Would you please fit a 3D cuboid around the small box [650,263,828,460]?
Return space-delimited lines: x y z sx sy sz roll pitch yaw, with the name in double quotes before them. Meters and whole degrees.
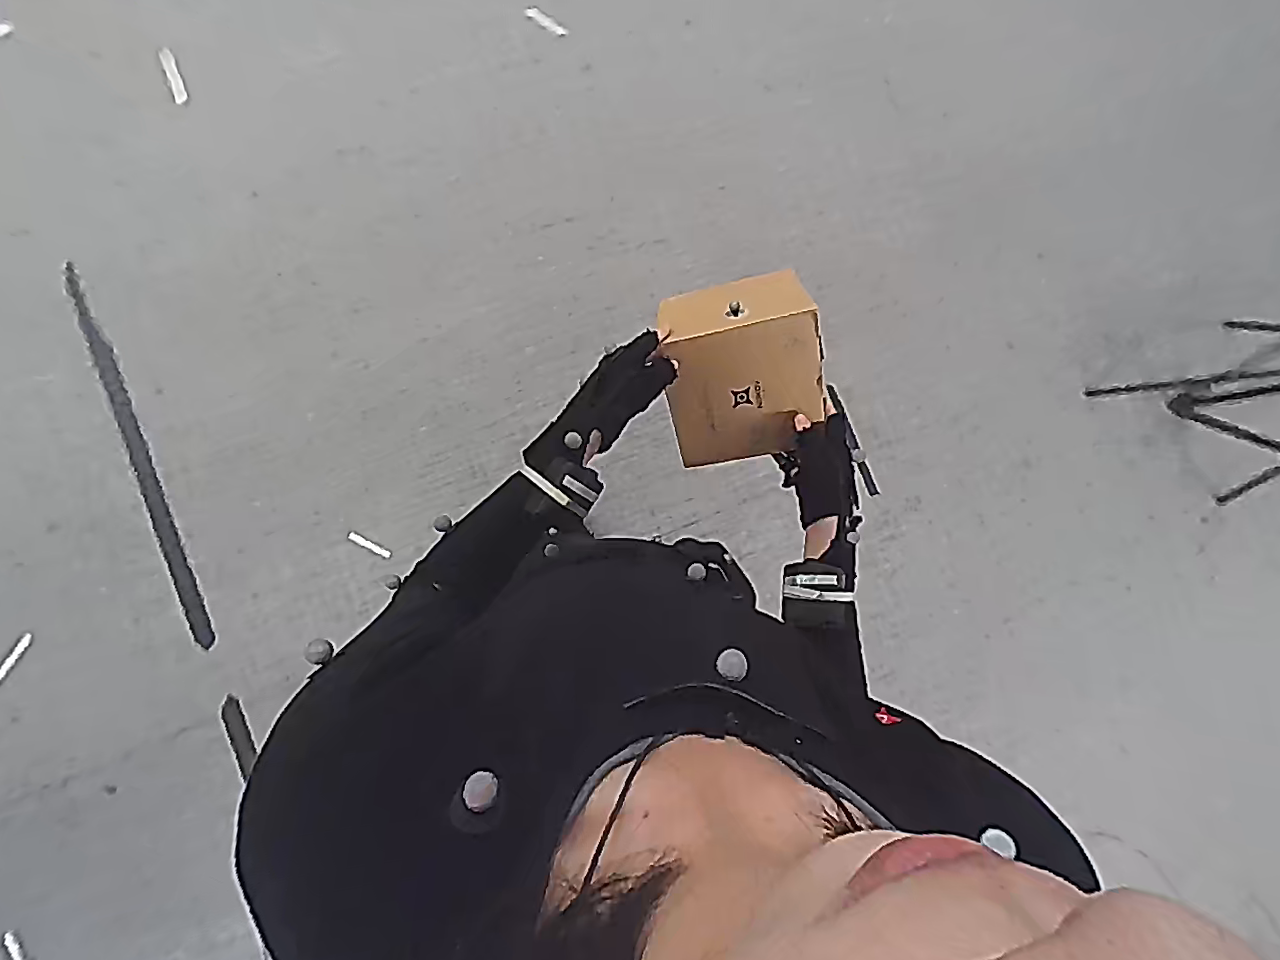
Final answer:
"small box" 0.117 -0.150 0.663 0.179 0.176 0.168 -11 122 12
